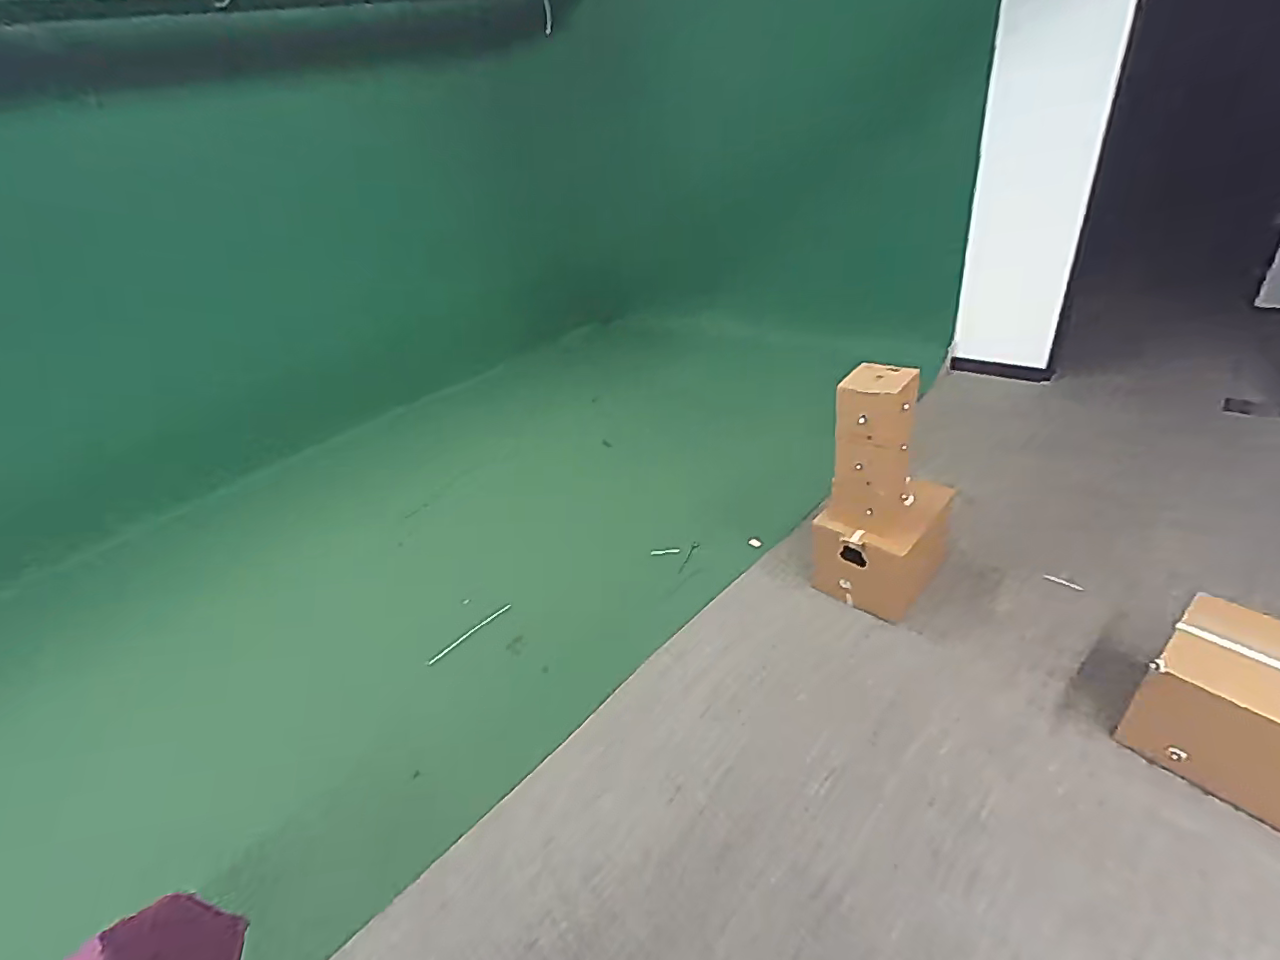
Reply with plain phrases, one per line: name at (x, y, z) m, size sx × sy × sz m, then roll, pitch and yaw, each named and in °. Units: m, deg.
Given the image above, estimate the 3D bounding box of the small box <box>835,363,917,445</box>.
small box at (0.688, -0.223, 1.579) m, size 0.168 × 0.176 × 0.179 m, roll 20°, pitch 45°, yaw 39°

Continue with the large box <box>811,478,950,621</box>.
large box at (0.846, 0.216, 1.916) m, size 0.408 × 0.320 × 0.320 m, roll -35°, pitch 40°, yaw -31°

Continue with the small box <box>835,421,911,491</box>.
small box at (0.717, -0.090, 1.671) m, size 0.168 × 0.176 × 0.179 m, roll 18°, pitch 43°, yaw 37°

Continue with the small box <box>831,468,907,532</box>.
small box at (0.741, 0.047, 1.758) m, size 0.179 × 0.176 × 0.168 m, roll 21°, pitch 45°, yaw 41°
